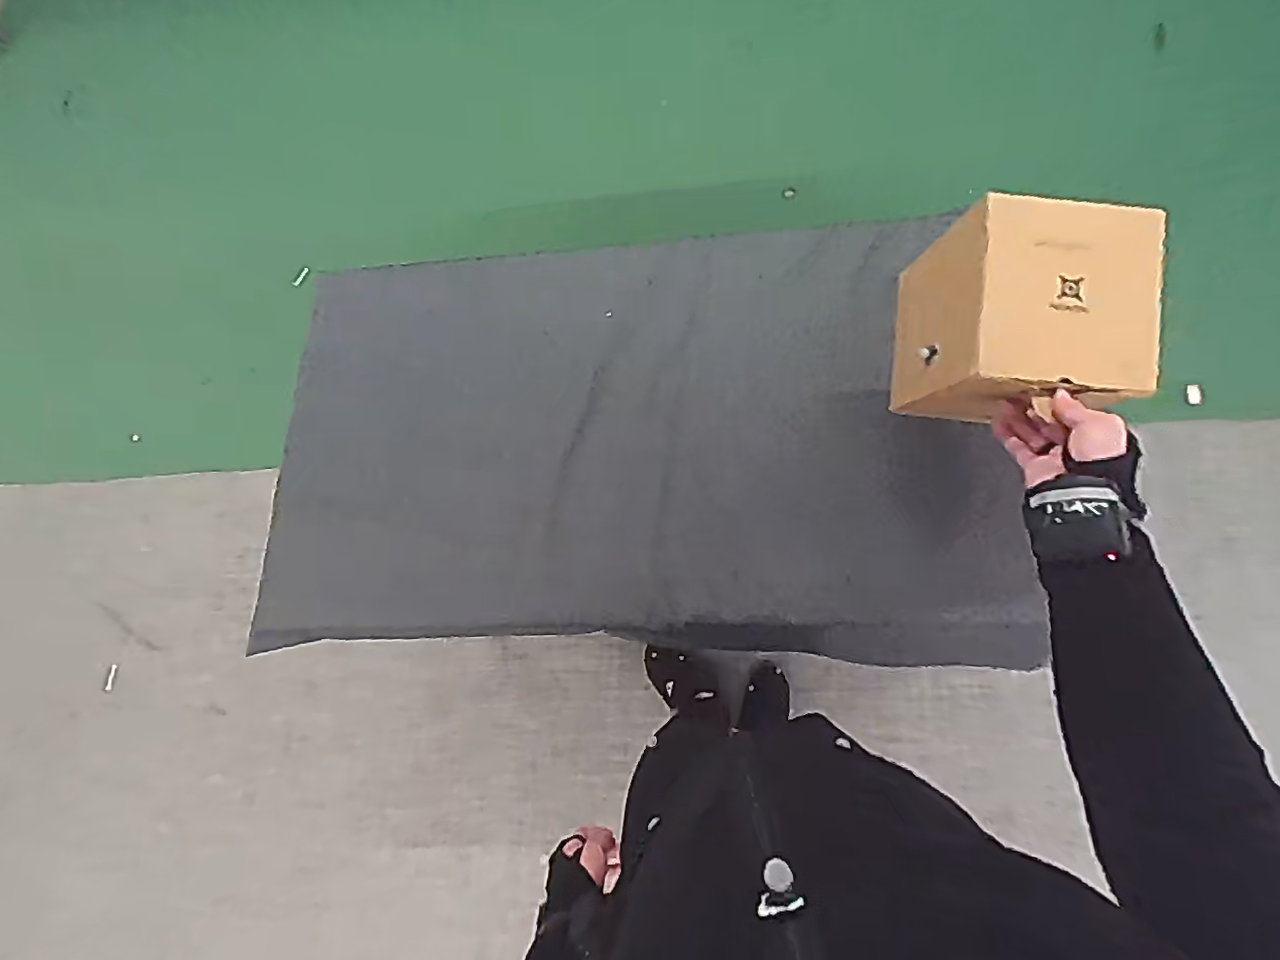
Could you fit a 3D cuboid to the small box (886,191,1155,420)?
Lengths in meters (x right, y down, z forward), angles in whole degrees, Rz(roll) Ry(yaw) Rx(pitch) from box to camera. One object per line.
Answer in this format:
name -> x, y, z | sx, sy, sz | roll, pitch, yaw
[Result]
small box -> 0.384, -0.167, 0.575 | 0.168, 0.176, 0.179 | 7, 86, -2
